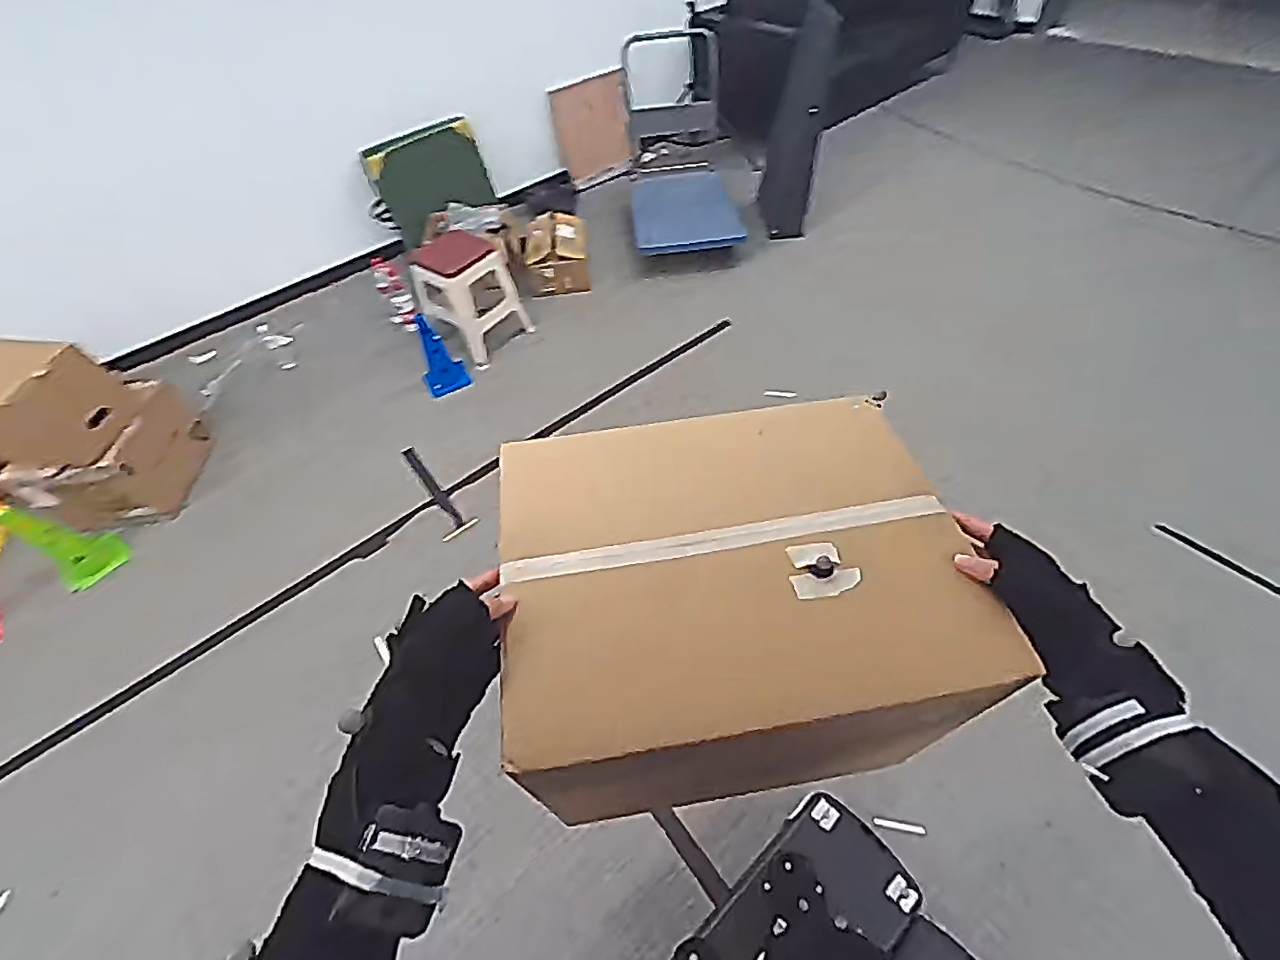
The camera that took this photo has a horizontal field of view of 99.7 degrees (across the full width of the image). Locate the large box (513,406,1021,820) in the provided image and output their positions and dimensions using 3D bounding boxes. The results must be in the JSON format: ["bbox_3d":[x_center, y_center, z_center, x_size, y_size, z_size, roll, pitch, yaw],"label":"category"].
[{"bbox_3d":[0.086,0.154,0.615,0.408,0.320,0.320,-8,52,-5],"label":"large box"}]

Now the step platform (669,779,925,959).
[{"bbox_3d":[0.307,1.006,1.179,0.684,0.204,0.286,-36,57,-22],"label":"step platform"}]
